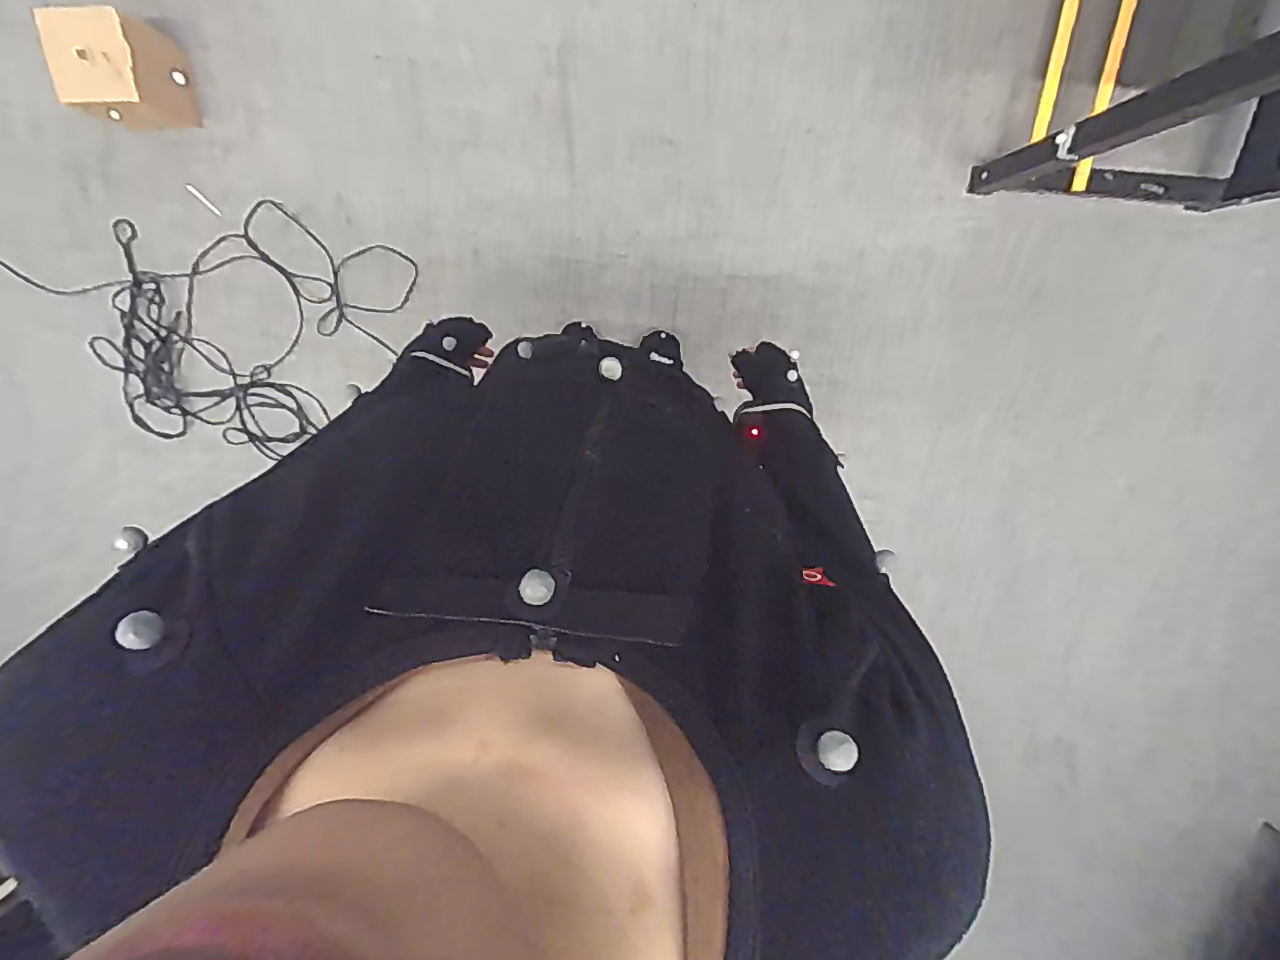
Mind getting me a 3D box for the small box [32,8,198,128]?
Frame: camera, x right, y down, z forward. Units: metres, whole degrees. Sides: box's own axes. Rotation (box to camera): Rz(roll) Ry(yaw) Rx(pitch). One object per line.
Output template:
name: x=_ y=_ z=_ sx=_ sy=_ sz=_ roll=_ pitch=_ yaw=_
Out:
small box: x=-1.122 y=-0.882 z=1.172 sx=0.179 sy=0.176 sz=0.168 roll=-1 pitch=108 yaw=1
